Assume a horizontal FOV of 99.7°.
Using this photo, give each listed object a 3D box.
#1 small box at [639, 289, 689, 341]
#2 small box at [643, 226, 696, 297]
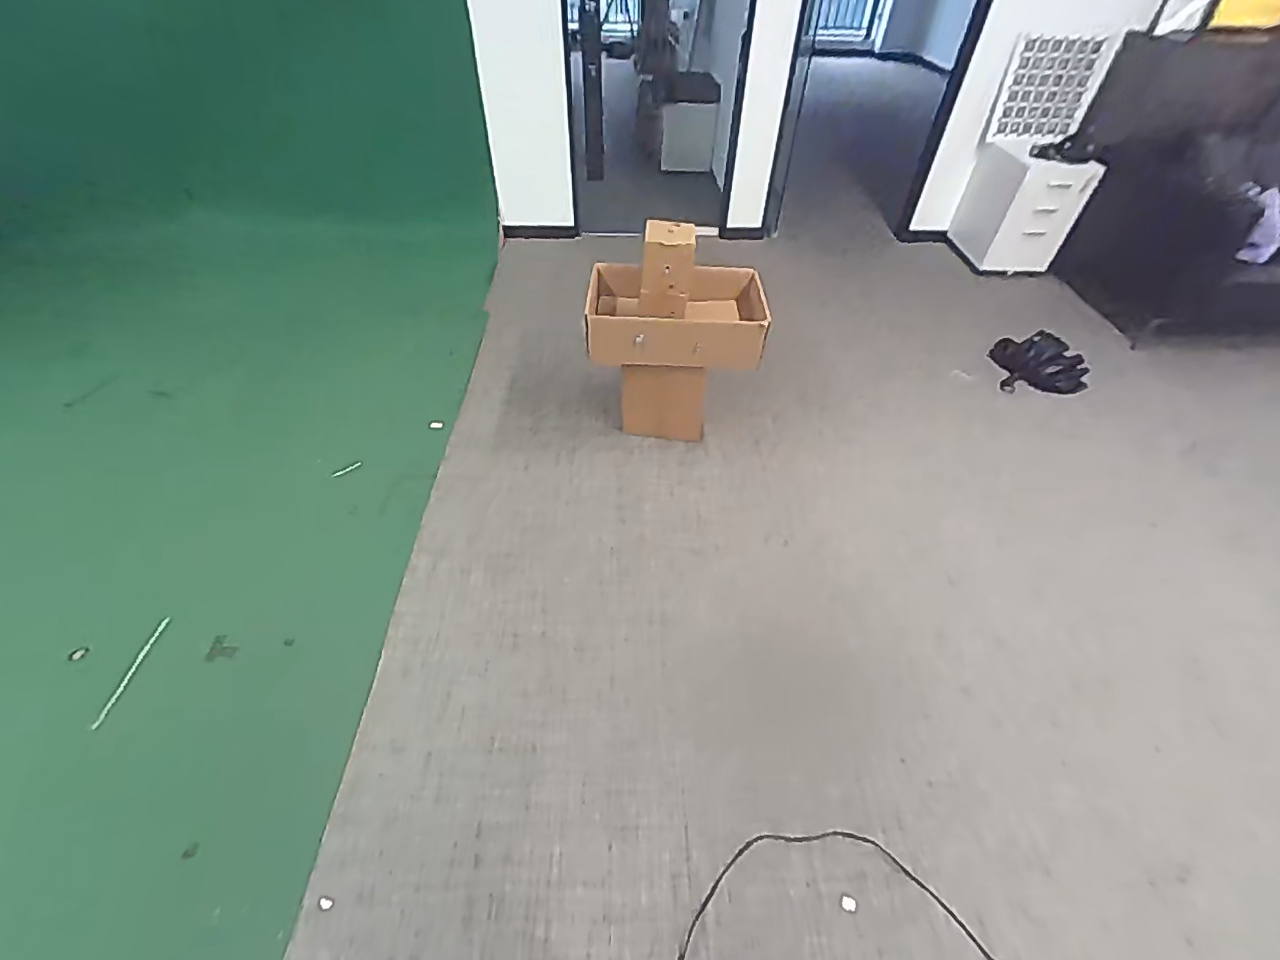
[{"bbox_3d":[0.087,-0.621,1.960,0.168,0.176,0.179,5,44,-1],"label":"small box"},{"bbox_3d":[0.099,-0.743,1.851,0.168,0.176,0.179,5,46,-1],"label":"small box"}]
